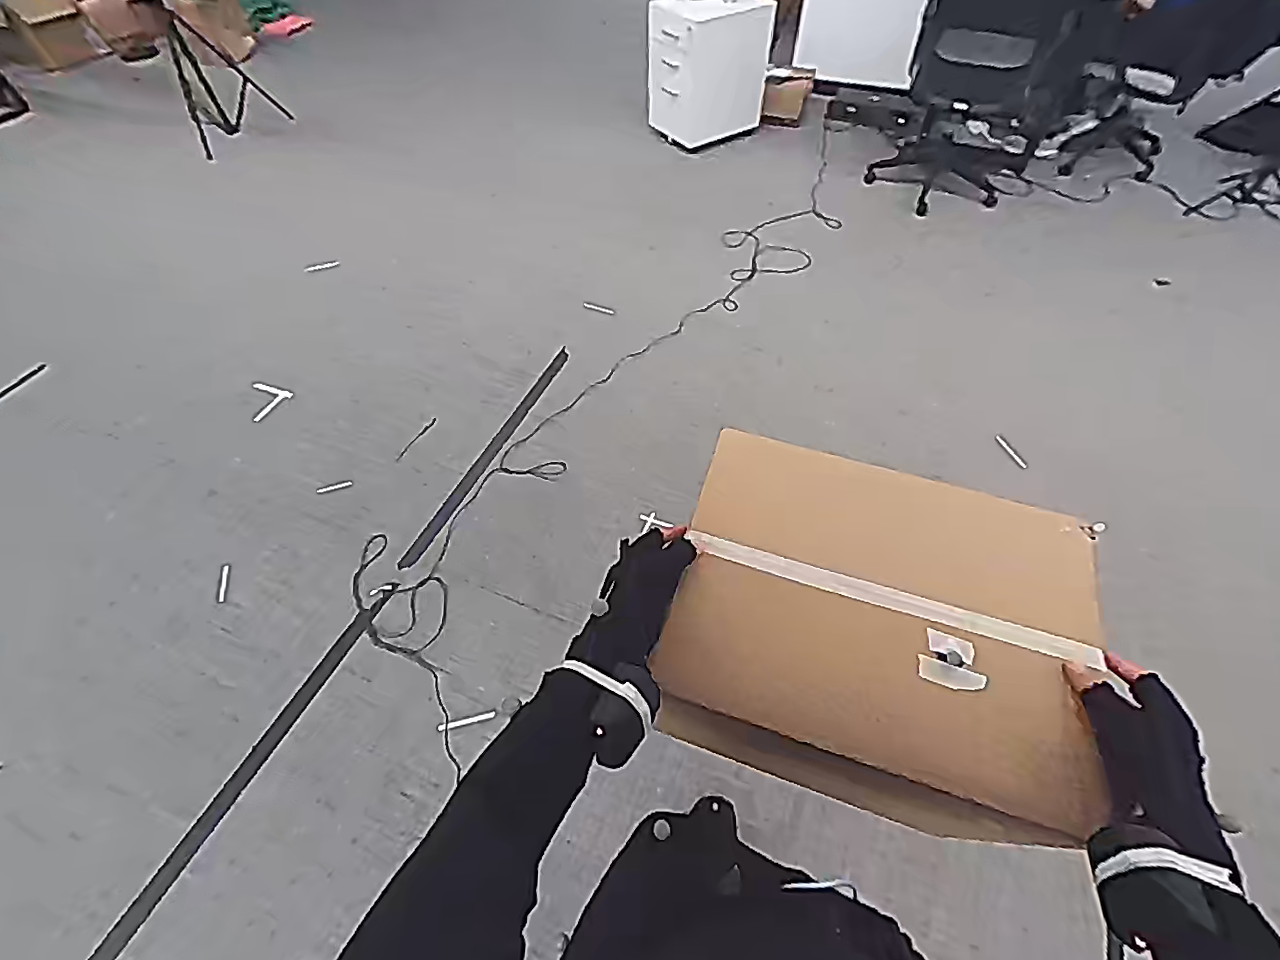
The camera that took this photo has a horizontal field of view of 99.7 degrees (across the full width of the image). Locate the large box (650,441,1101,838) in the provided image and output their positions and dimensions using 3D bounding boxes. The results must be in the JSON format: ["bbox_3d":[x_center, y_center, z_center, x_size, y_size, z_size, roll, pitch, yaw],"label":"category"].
[{"bbox_3d":[0.245,0.202,0.684,0.408,0.320,0.320,16,62,10],"label":"large box"}]
